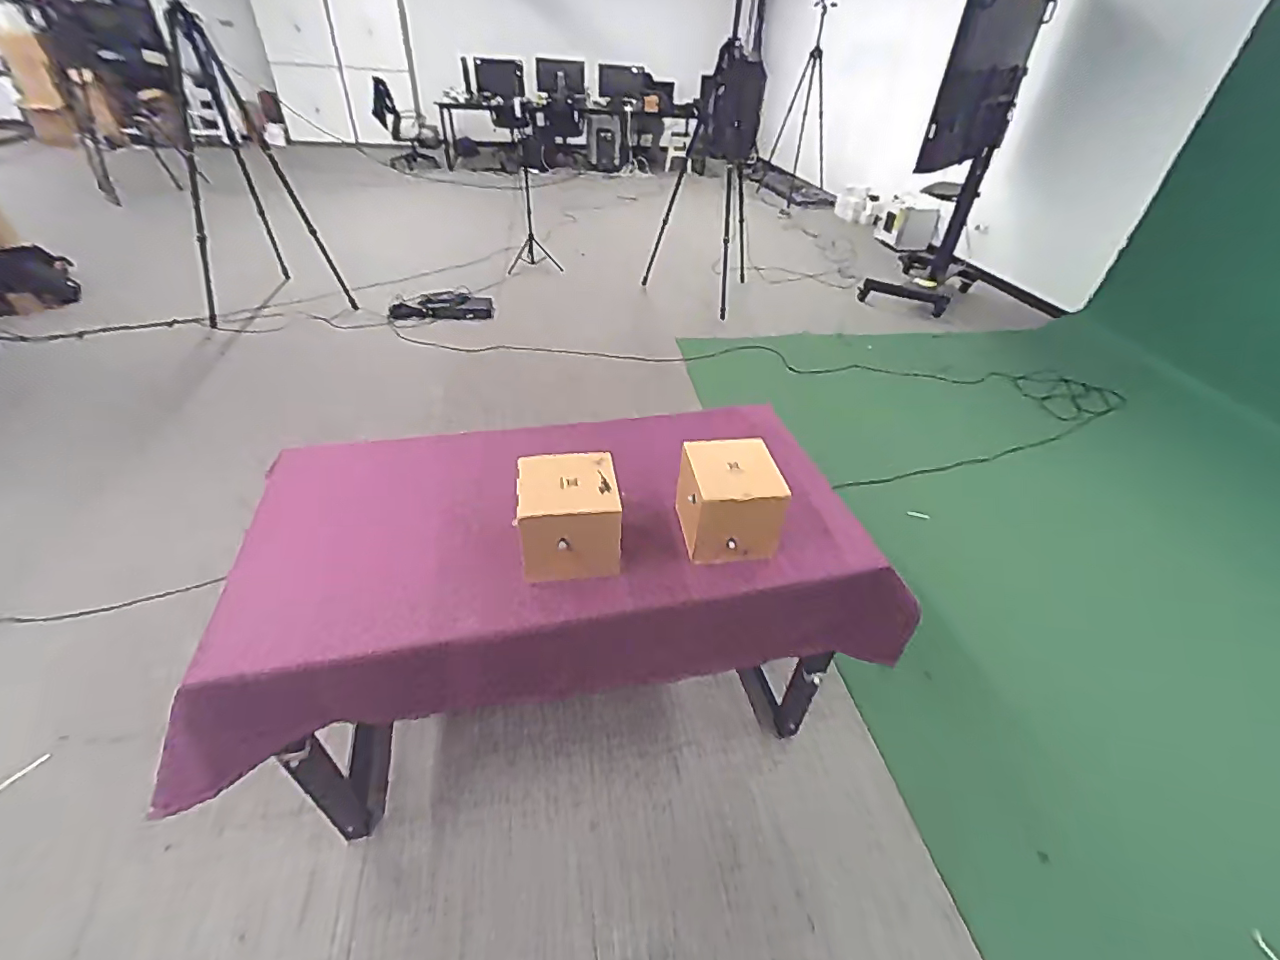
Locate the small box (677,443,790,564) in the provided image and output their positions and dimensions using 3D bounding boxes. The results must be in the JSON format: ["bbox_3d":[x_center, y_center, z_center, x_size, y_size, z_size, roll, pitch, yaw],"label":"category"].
[{"bbox_3d":[0.173,0.045,1.071,0.168,0.176,0.179,-3,40,-8],"label":"small box"}]

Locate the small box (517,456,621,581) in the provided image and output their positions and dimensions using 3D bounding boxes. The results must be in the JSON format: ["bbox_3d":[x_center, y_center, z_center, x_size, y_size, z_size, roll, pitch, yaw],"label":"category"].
[{"bbox_3d":[-0.131,0.073,1.010,0.179,0.176,0.168,-4,40,-8],"label":"small box"}]
